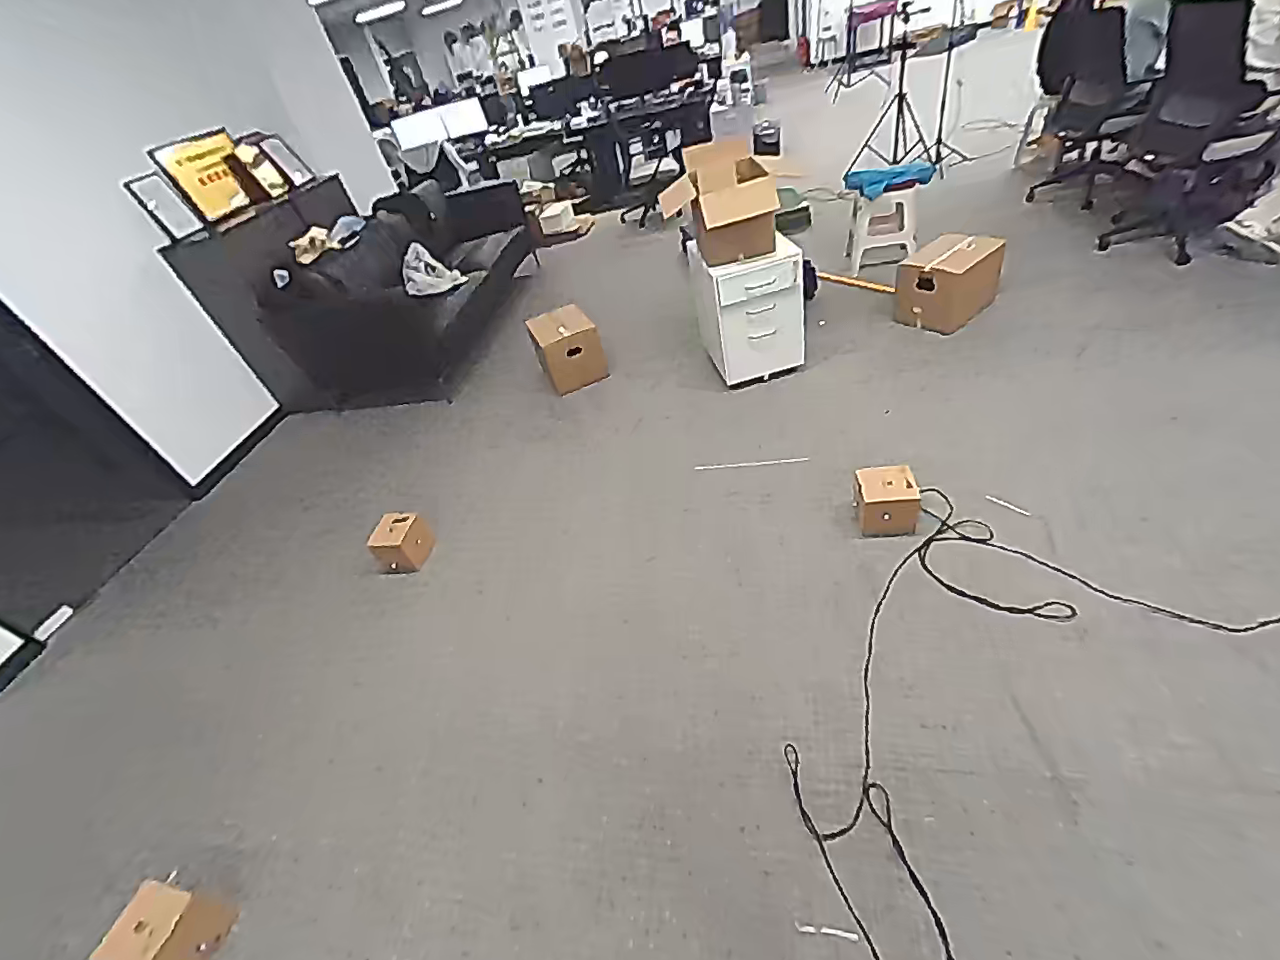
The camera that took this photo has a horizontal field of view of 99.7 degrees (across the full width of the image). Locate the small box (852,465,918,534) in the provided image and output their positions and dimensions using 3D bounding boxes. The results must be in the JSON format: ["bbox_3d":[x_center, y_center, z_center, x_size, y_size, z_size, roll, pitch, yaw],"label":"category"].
[{"bbox_3d":[0.835,0.072,1.854,0.179,0.176,0.168,-6,41,13],"label":"small box"}]

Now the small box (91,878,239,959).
[{"bbox_3d":[-1.156,1.116,1.330,0.179,0.176,0.168,0,43,19],"label":"small box"}]

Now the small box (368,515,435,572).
[{"bbox_3d":[-0.987,0.265,2.259,0.168,0.176,0.179,-3,42,15],"label":"small box"}]
